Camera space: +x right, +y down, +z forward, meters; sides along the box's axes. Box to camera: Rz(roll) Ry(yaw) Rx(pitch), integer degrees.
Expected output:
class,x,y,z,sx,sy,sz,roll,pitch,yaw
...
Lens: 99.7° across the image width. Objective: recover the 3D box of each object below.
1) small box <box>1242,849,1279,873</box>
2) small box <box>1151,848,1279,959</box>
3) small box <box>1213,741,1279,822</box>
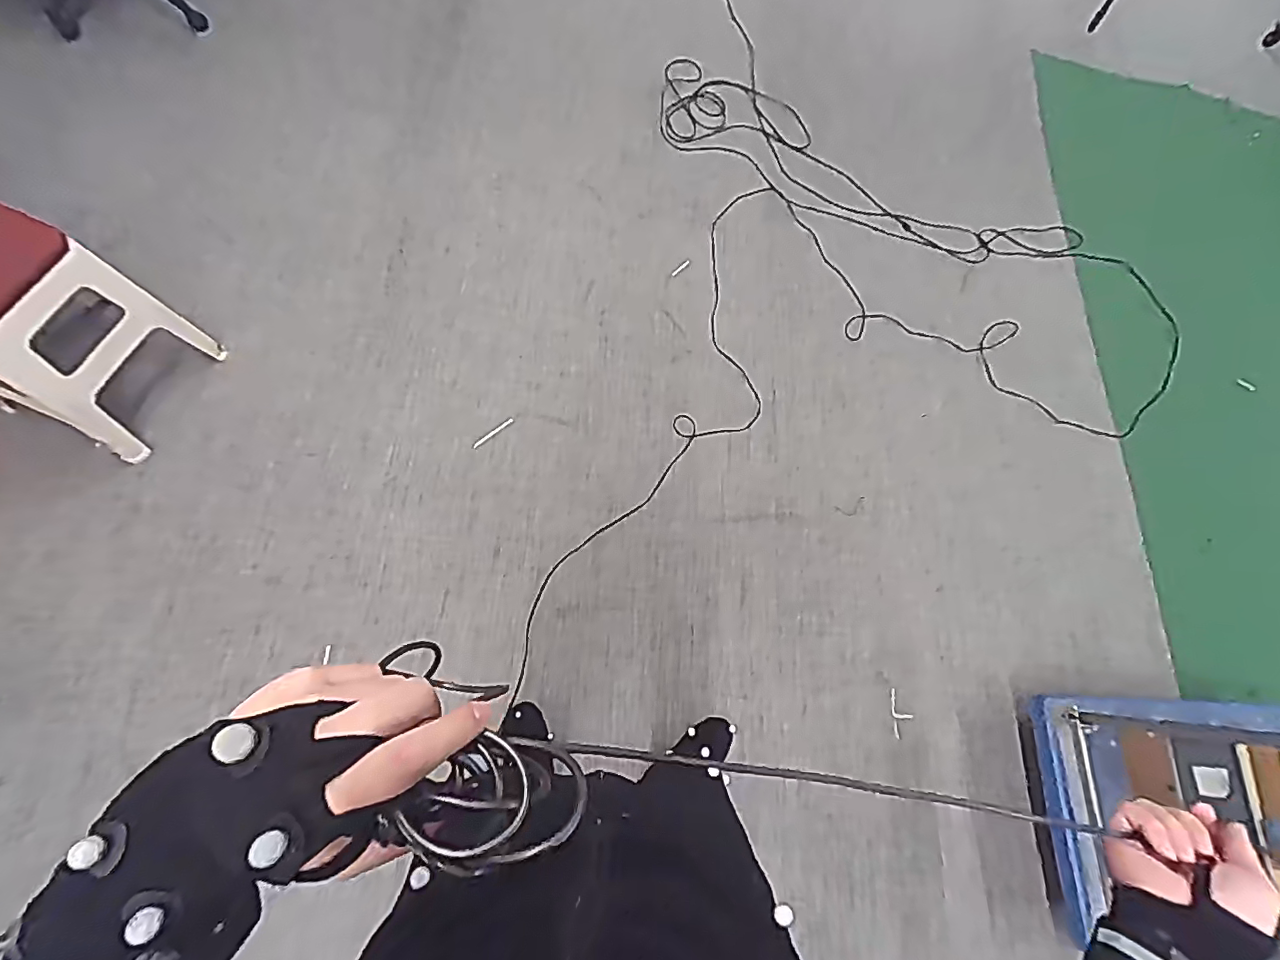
class,x,y,z,sx,sy,sz,roll,pitch,yaw
small box,1.626,1.003,1.289,0.179,0.176,0.168,2,71,-8
small box,1.359,0.977,1.255,0.179,0.176,0.168,6,71,-6
small box,1.620,0.764,1.369,0.179,0.176,0.168,2,72,-9
